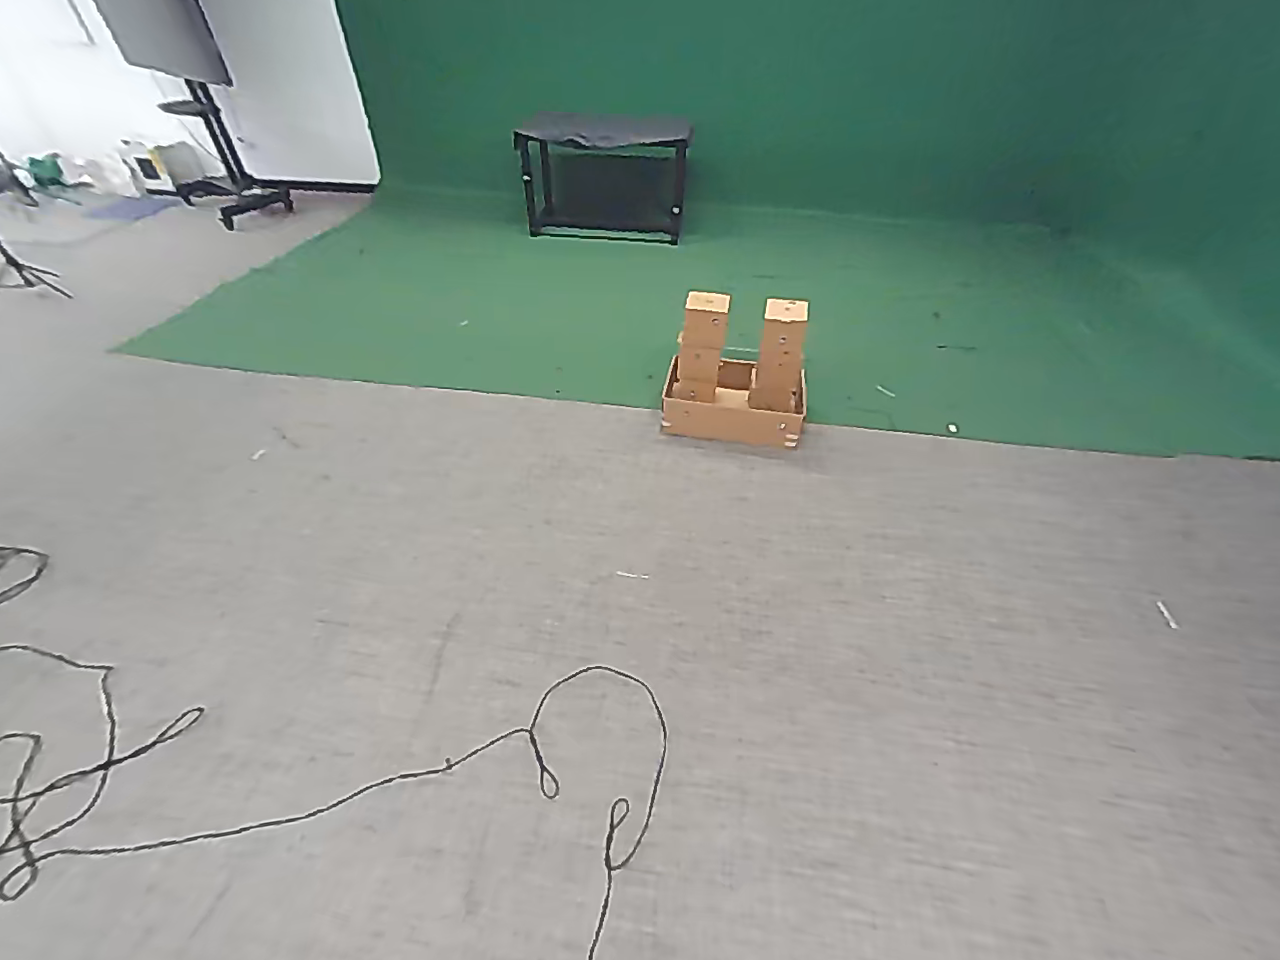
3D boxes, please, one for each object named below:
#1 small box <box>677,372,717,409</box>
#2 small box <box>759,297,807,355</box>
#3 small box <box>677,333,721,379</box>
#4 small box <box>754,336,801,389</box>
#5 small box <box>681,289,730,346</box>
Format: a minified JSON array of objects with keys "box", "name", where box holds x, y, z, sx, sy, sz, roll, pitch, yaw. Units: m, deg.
[{"box":[0.266,-0.450,2.508,0.168,0.176,0.179,8,44,6],"name":"small box"},{"box":[0.588,-0.633,2.230,0.168,0.176,0.179,9,46,10],"name":"small box"},{"box":[0.262,-0.563,2.389,0.179,0.176,0.168,9,45,6],"name":"small box"},{"box":[0.592,-0.508,2.336,0.179,0.176,0.168,6,46,7],"name":"small box"},{"box":[0.275,-0.679,2.272,0.179,0.176,0.168,8,44,7],"name":"small box"}]
